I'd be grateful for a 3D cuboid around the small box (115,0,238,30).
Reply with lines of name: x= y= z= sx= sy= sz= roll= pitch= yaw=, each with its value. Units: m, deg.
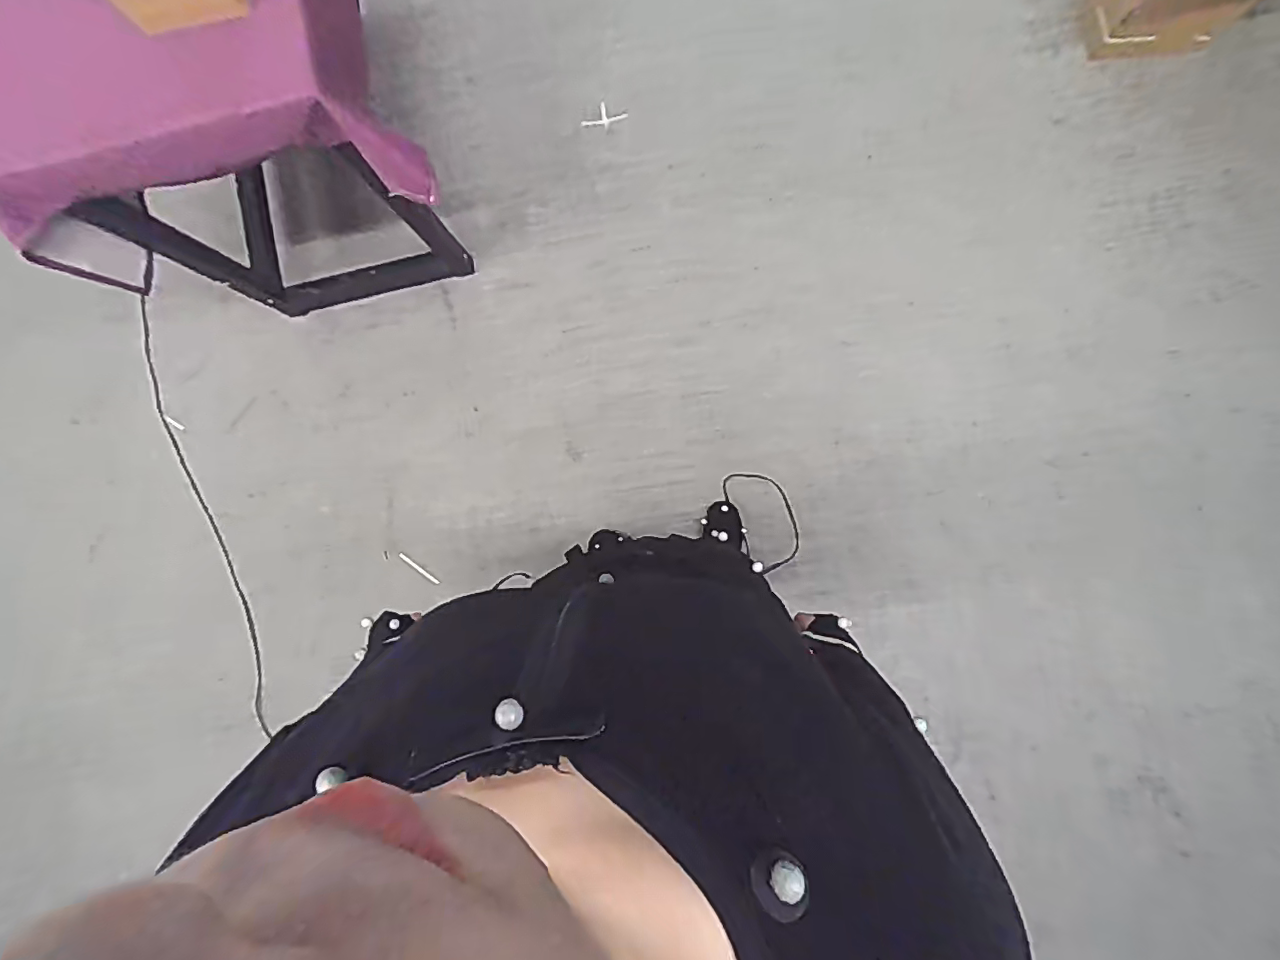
small box: x=-0.716 y=-0.809 z=0.782 sx=0.179 sy=0.176 sz=0.168 roll=-9 pitch=87 yaw=4
